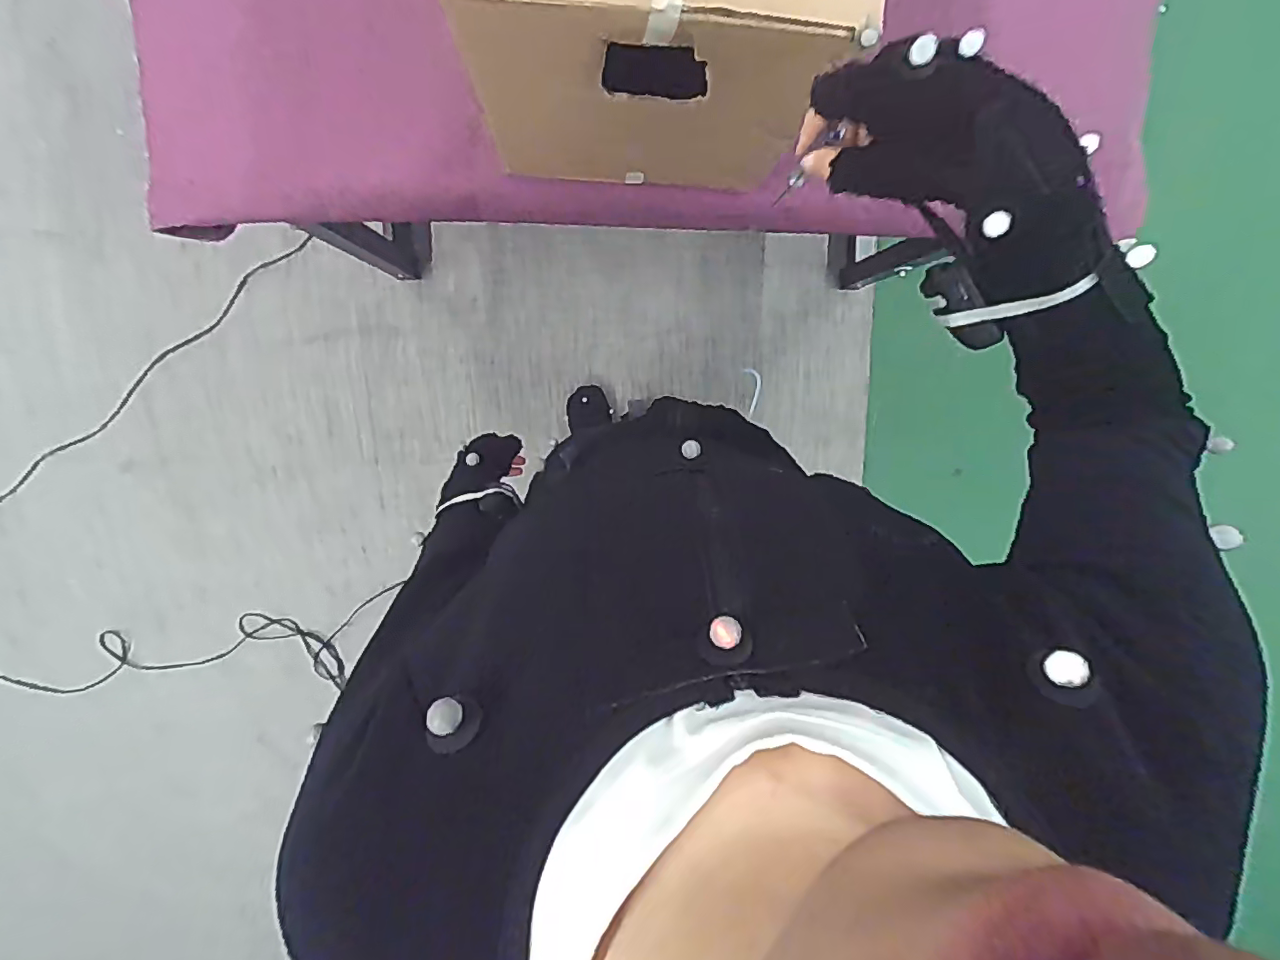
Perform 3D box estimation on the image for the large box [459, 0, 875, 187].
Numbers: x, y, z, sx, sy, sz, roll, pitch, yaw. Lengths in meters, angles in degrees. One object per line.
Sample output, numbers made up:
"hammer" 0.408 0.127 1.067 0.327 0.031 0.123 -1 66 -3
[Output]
"large box" 0.016 -0.551 0.505 0.320 0.320 0.408 2 100 -5
